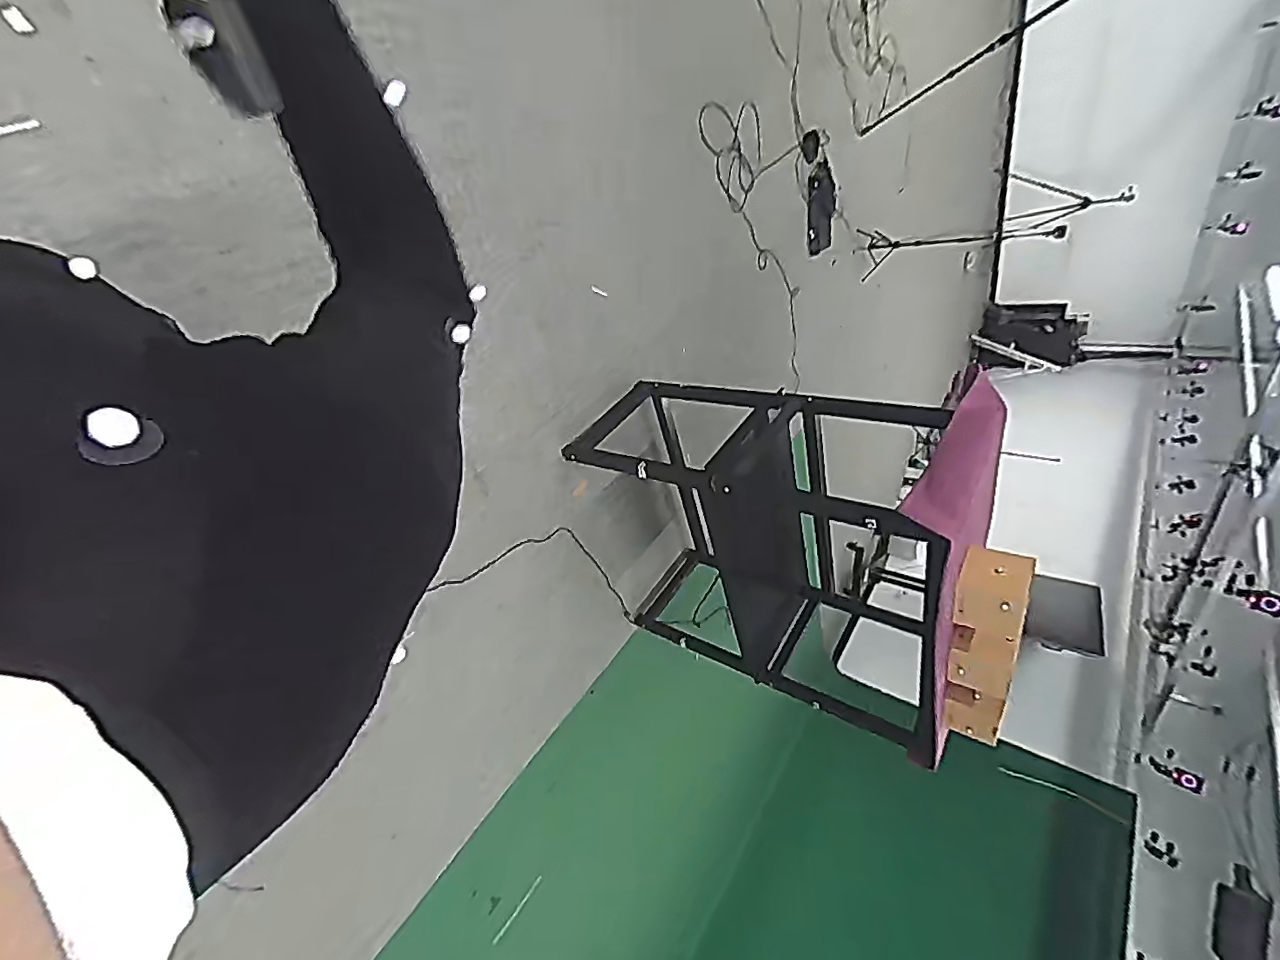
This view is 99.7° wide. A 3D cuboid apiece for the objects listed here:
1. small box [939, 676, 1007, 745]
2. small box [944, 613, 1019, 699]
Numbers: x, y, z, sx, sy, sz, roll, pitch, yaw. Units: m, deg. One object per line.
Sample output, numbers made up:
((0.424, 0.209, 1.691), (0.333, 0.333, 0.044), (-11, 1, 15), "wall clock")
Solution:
((1.155, 0.771, 1.879), (0.179, 0.176, 0.168), (-42, 131, -37), "small box")
((1.081, 0.552, 1.722), (0.168, 0.176, 0.179), (-47, 134, -35), "small box")
